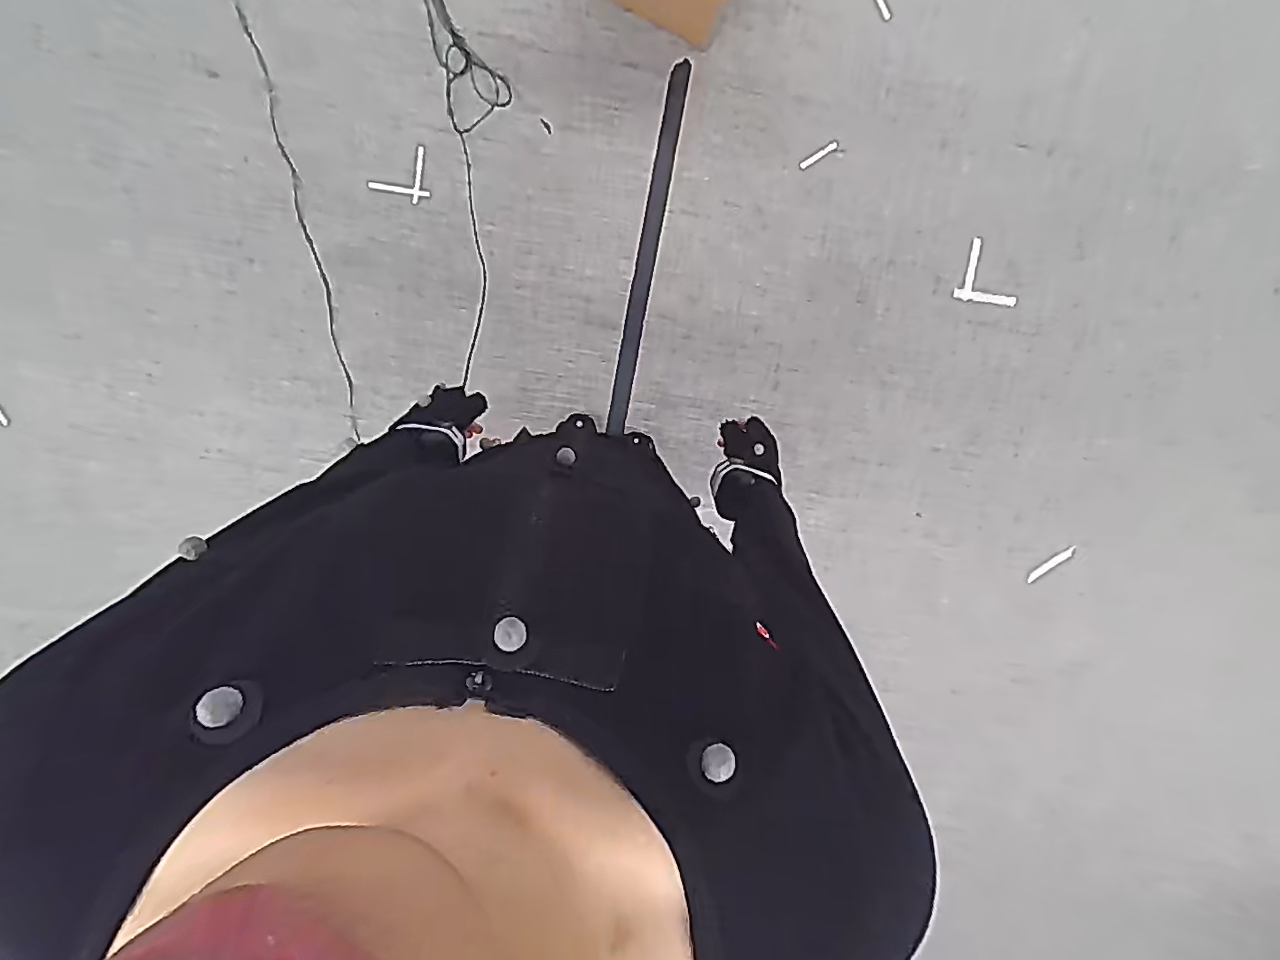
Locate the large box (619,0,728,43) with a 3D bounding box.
[{"bbox_3d":[0.056,-1.276,1.171,0.408,0.320,0.320,24,96,-5],"label":"large box"}]
